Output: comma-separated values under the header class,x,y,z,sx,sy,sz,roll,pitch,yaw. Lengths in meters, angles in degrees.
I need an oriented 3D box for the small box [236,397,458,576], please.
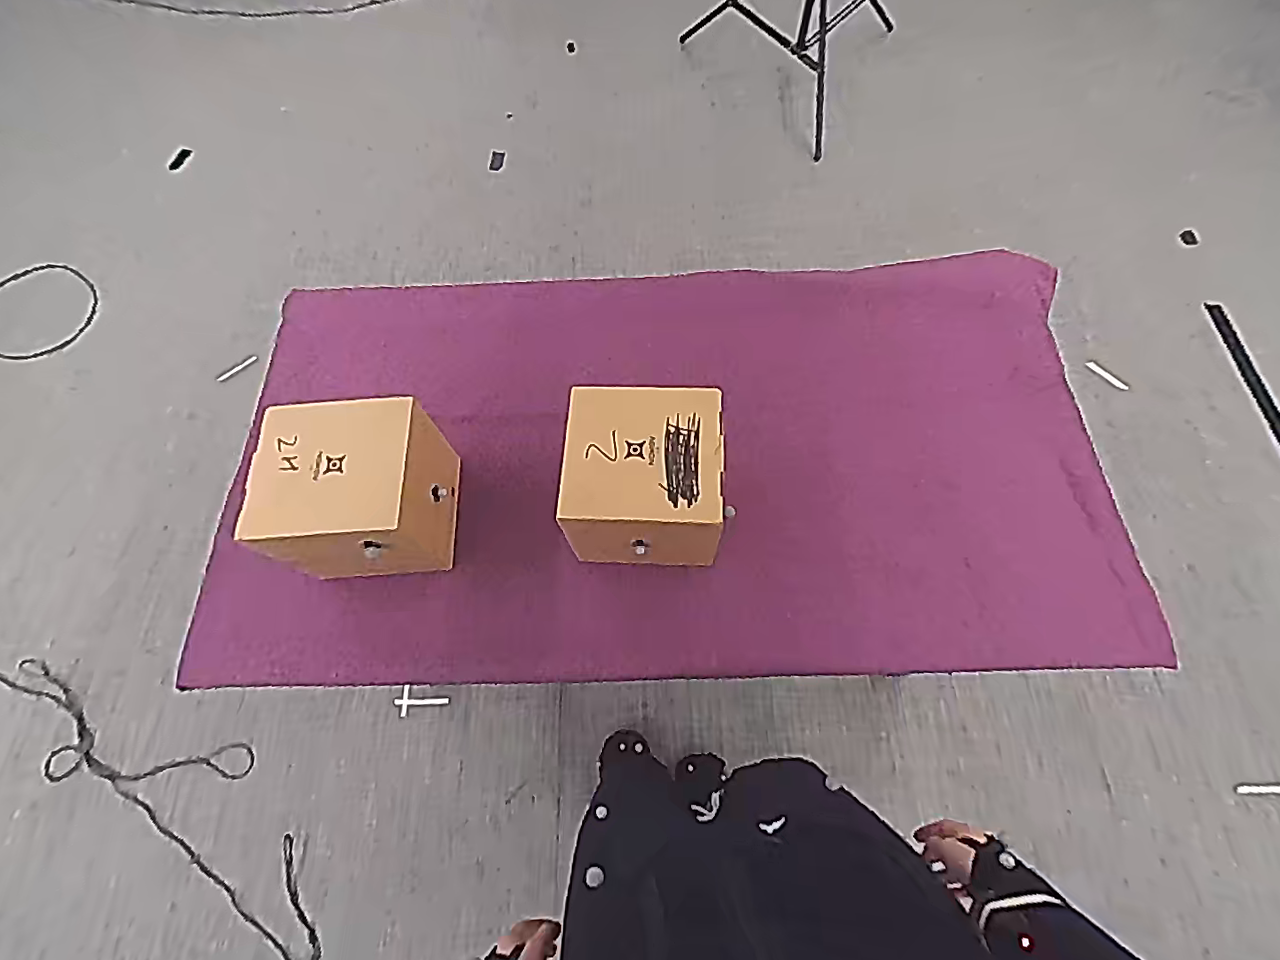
class,x,y,z,sx,sy,sz,roll,pitch,yaw
small box,-0.339,0.016,0.669,0.179,0.176,0.168,-4,65,1
